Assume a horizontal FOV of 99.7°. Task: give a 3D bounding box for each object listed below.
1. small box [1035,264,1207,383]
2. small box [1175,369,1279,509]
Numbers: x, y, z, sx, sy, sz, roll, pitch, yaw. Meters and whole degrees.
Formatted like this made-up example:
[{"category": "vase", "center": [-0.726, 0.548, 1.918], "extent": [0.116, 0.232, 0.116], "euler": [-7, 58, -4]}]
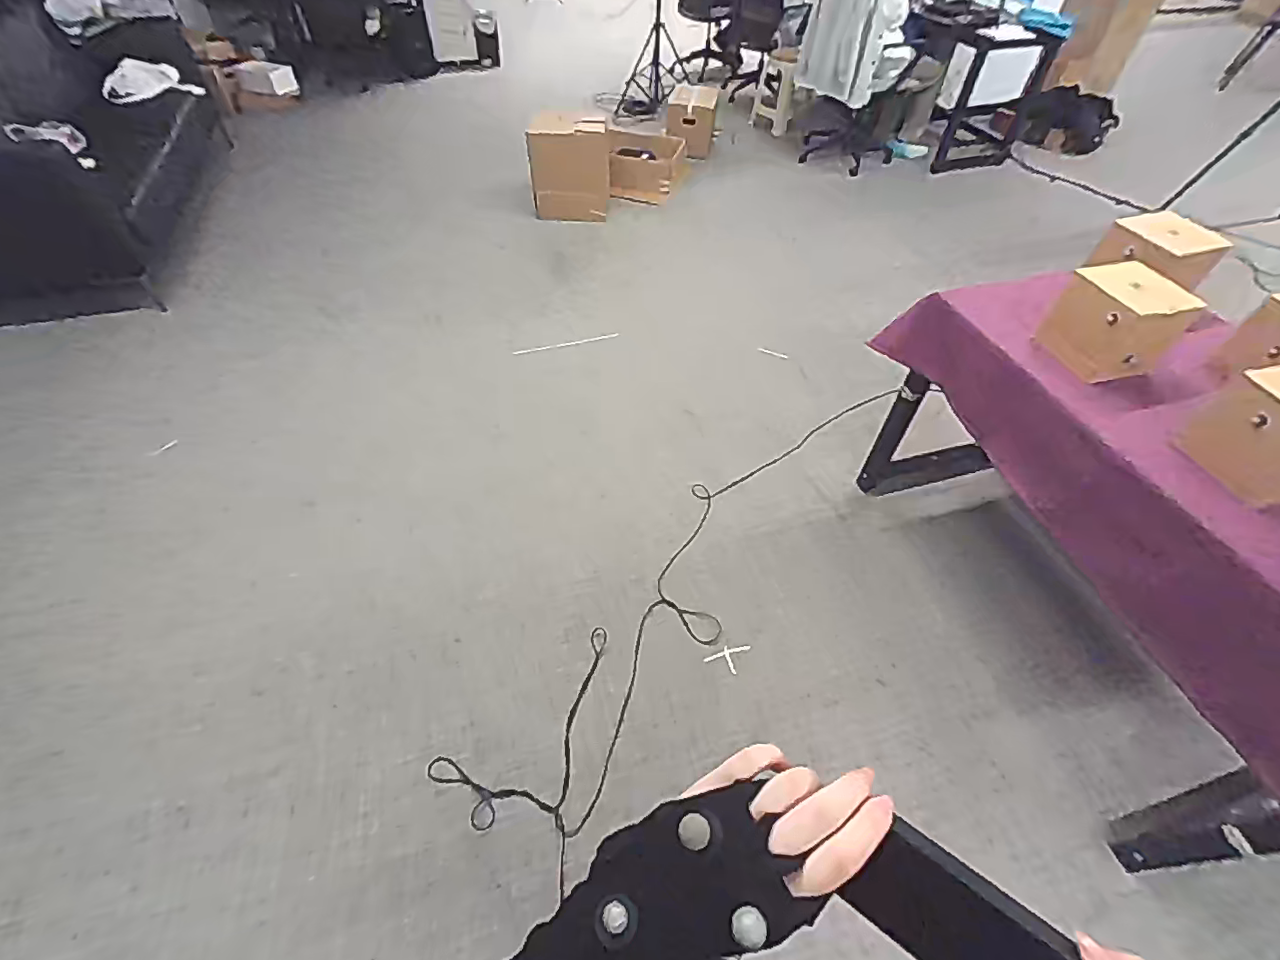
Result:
[{"category": "small box", "center": [1.004, -0.332, 1.151], "extent": [0.168, 0.176, 0.179], "euler": [-10, 52, -10]}, {"category": "small box", "center": [1.113, -0.075, 0.936], "extent": [0.168, 0.176, 0.179], "euler": [-9, 52, -8]}]
